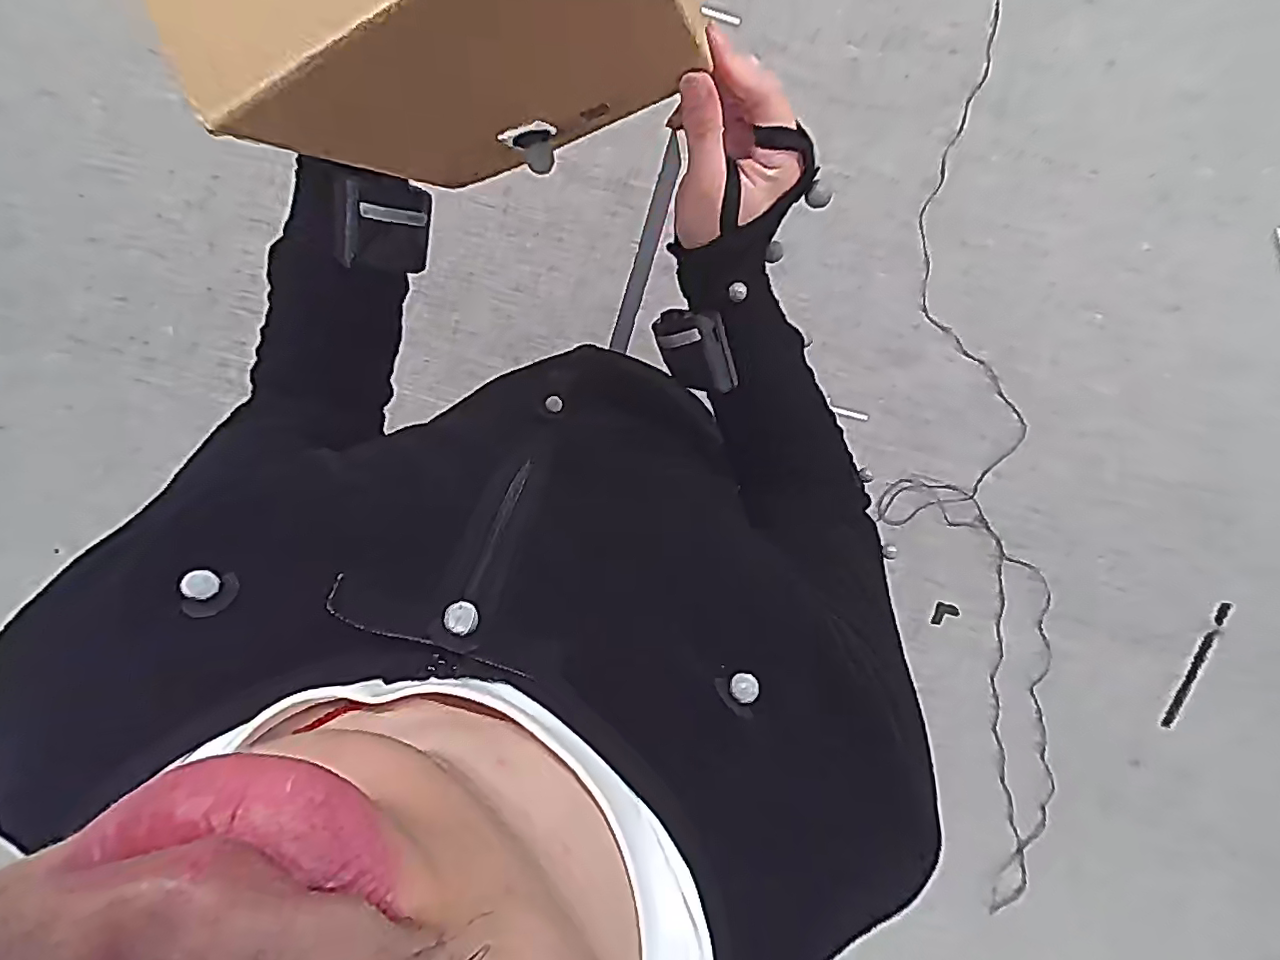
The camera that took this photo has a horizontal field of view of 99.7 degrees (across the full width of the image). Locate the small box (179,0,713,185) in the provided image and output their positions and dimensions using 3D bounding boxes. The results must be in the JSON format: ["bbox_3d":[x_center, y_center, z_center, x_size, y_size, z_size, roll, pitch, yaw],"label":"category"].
[{"bbox_3d":[-0.078,-0.252,0.226,0.168,0.176,0.179,-11,107,22],"label":"small box"}]
